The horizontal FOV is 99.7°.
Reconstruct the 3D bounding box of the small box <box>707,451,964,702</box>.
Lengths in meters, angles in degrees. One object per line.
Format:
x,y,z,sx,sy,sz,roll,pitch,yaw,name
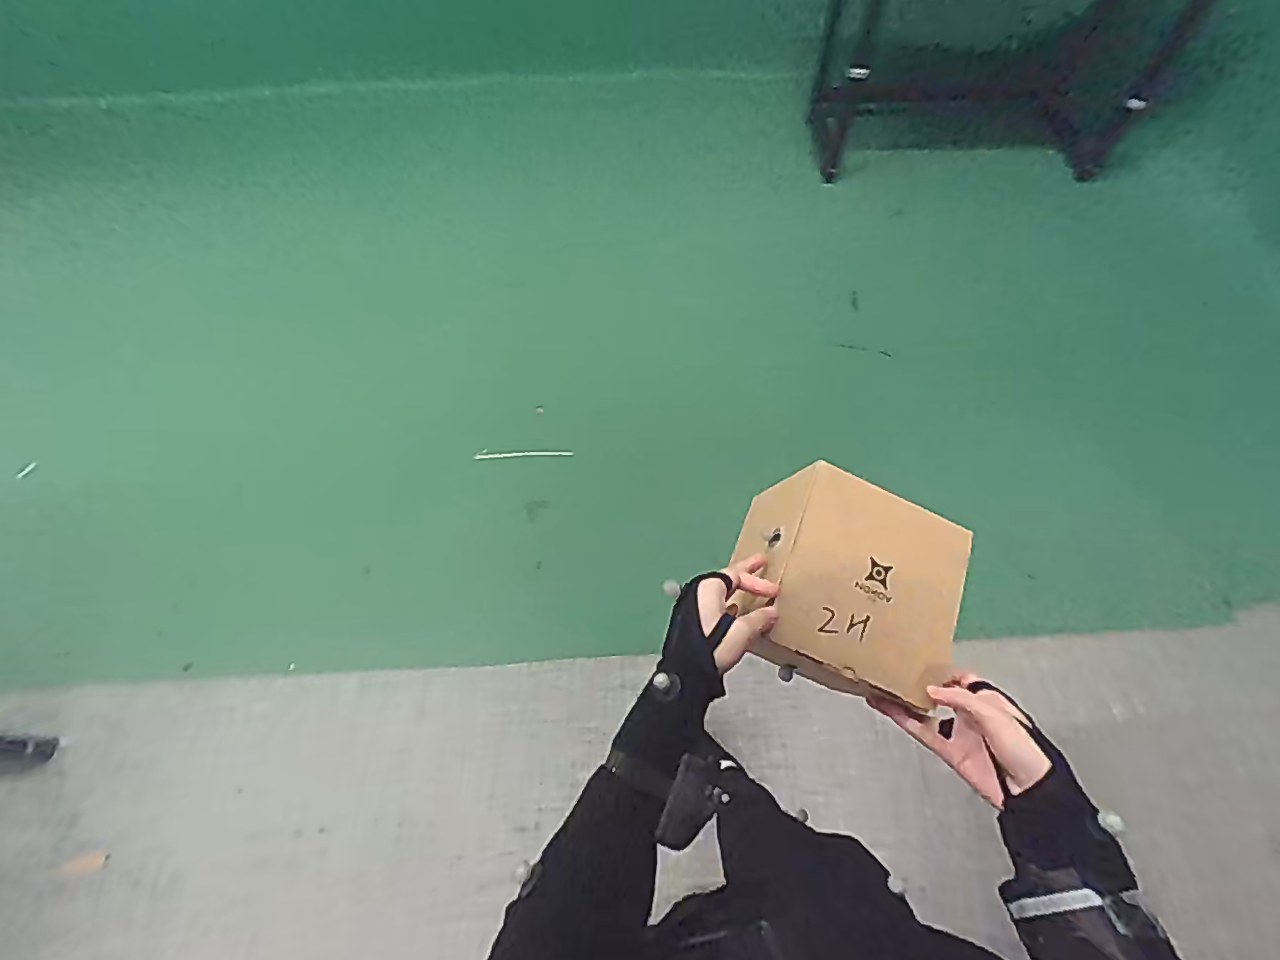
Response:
0.187,0.101,0.556,0.168,0.176,0.179,25,72,-3,small box
